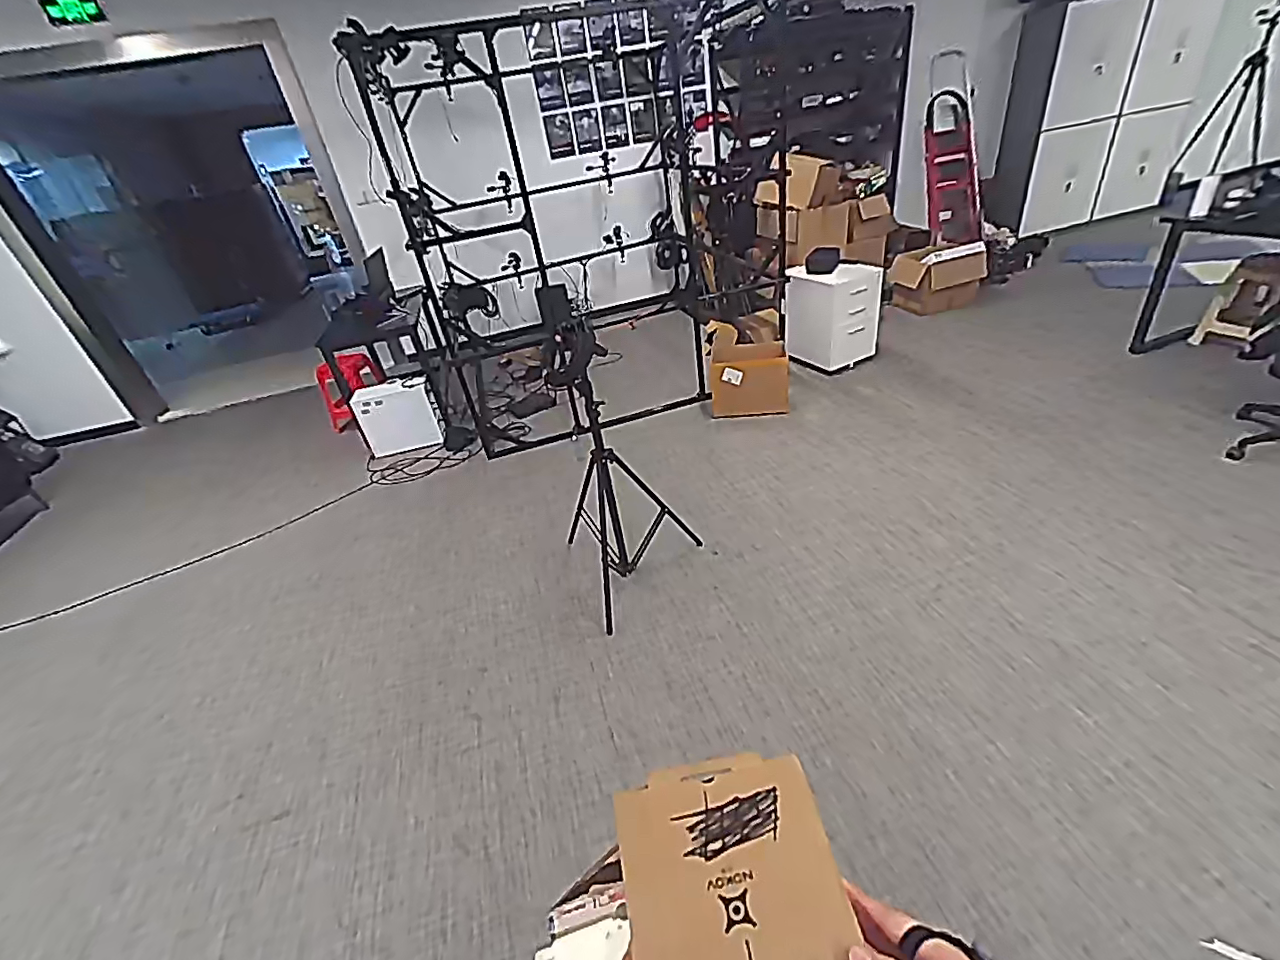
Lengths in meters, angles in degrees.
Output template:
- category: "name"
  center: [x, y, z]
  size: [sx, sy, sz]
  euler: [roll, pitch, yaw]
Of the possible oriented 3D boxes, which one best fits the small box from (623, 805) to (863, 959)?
- category: "small box"
  center: [0.084, 0.403, 0.446]
  size: [0.168, 0.176, 0.179]
  euler: [-11, 44, -3]
